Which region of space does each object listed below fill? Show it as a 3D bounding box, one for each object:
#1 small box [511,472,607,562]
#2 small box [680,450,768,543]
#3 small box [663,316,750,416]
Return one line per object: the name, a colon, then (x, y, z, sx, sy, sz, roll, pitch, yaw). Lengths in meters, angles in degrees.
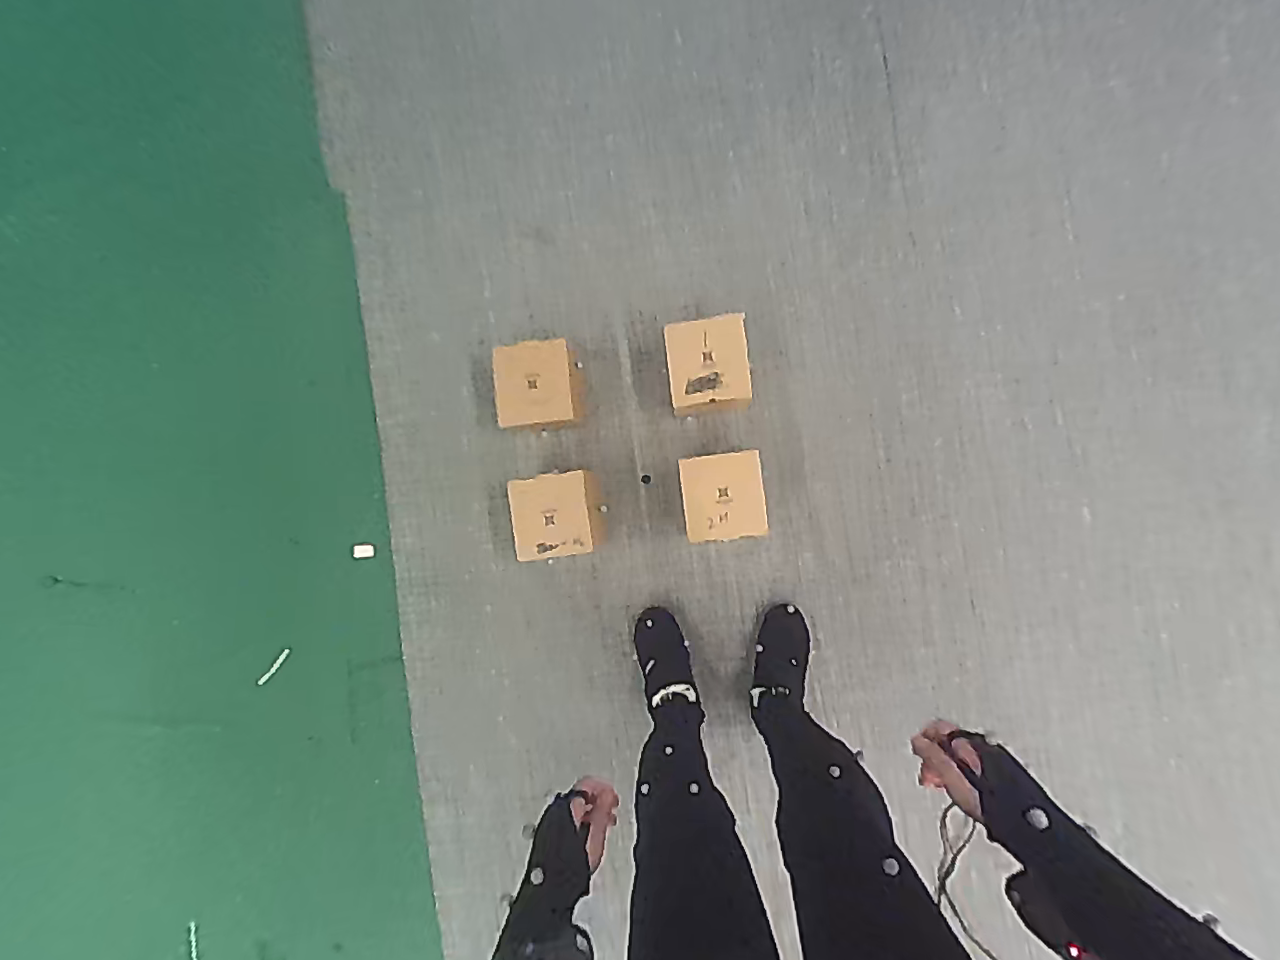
small box: (-0.176, 0.083, 1.215, 0.168, 0.176, 0.179, -8, 87, 6)
small box: (0.178, 0.037, 1.177, 0.168, 0.176, 0.179, -7, 88, 6)
small box: (0.145, -0.238, 1.185, 0.168, 0.176, 0.179, -7, 88, 6)
